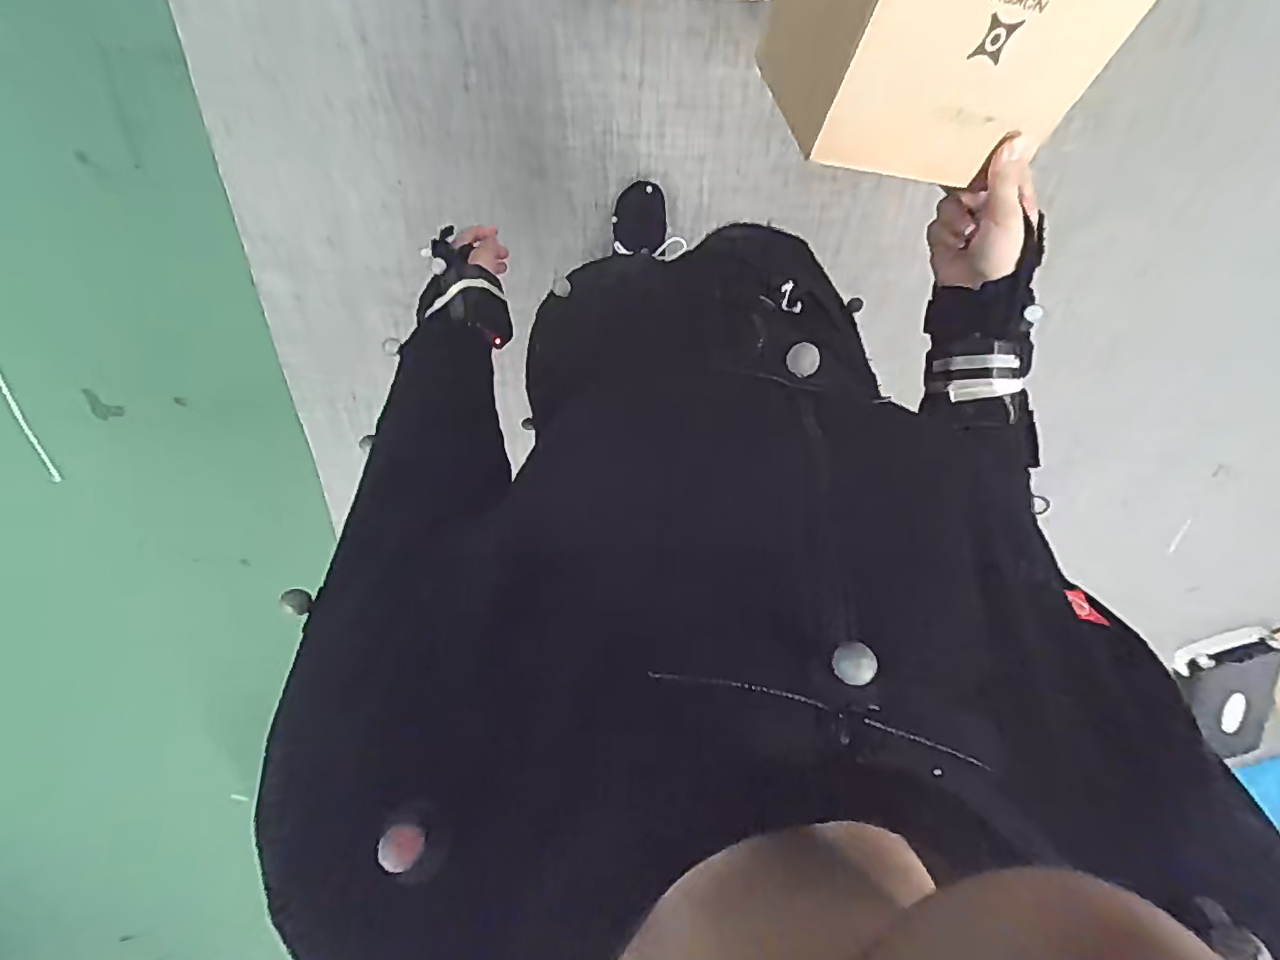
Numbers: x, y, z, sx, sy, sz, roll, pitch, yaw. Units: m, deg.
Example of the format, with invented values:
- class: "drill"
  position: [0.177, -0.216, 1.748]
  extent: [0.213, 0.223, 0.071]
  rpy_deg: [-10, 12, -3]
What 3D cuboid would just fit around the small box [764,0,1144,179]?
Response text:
- class: "small box"
  position: [0.197, -0.335, 0.349]
  extent: [0.168, 0.176, 0.179]
  rpy_deg: [1, 148, -13]
